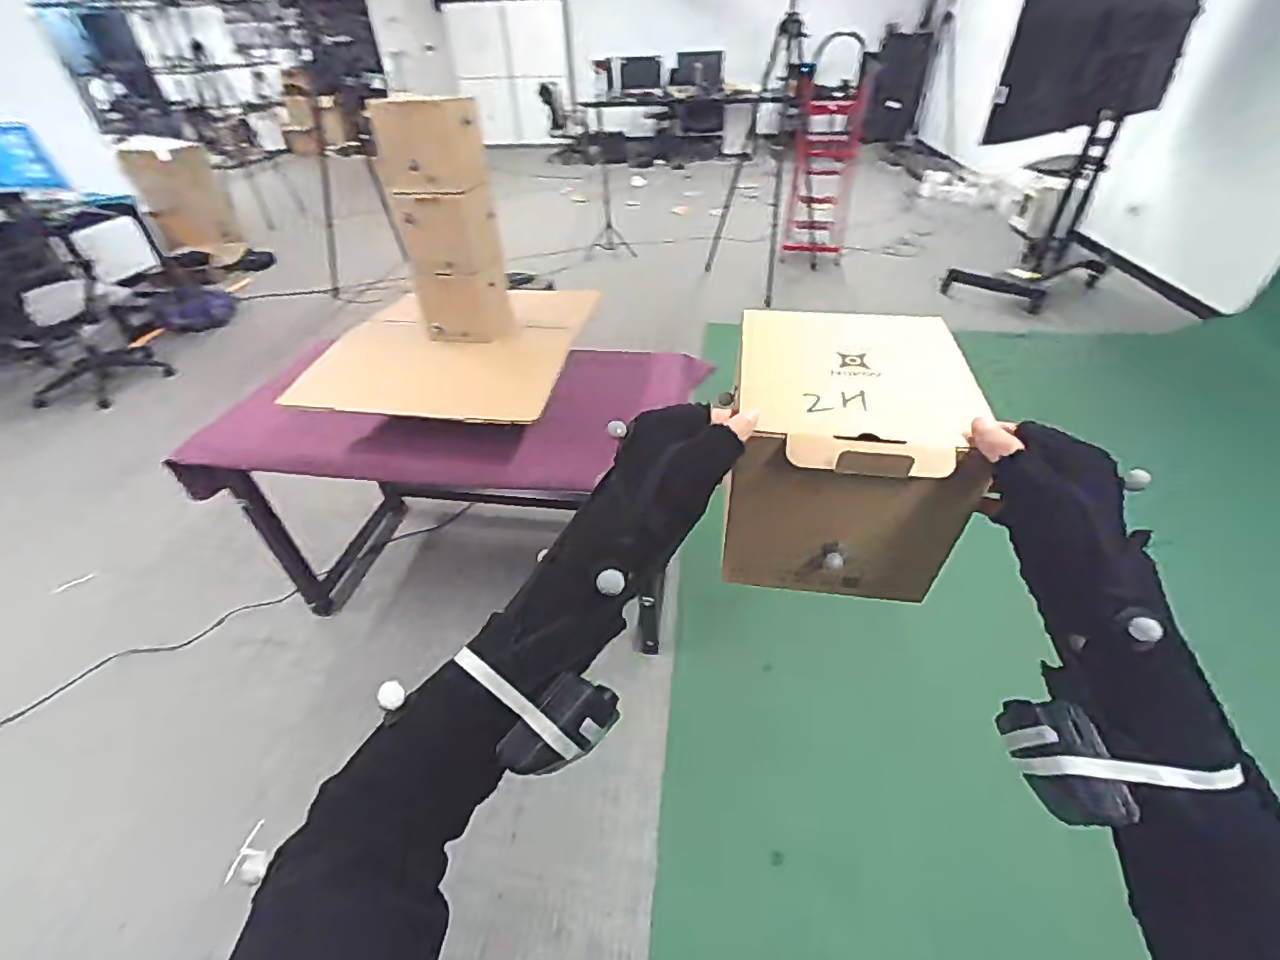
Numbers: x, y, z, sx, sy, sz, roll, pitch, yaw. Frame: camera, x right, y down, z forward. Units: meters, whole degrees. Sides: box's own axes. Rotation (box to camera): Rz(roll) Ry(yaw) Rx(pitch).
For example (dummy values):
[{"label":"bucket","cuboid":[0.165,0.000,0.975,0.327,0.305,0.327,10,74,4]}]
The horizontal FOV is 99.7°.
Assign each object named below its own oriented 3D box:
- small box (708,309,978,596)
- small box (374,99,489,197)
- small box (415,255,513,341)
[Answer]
[{"label":"small box","cuboid":[0.148,-0.027,0.466,0.168,0.176,0.179,4,44,7]},{"label":"small box","cuboid":[-0.444,-0.730,1.186,0.168,0.176,0.179,4,37,6]},{"label":"small box","cuboid":[-0.437,-0.466,1.379,0.168,0.176,0.179,5,37,8]}]
